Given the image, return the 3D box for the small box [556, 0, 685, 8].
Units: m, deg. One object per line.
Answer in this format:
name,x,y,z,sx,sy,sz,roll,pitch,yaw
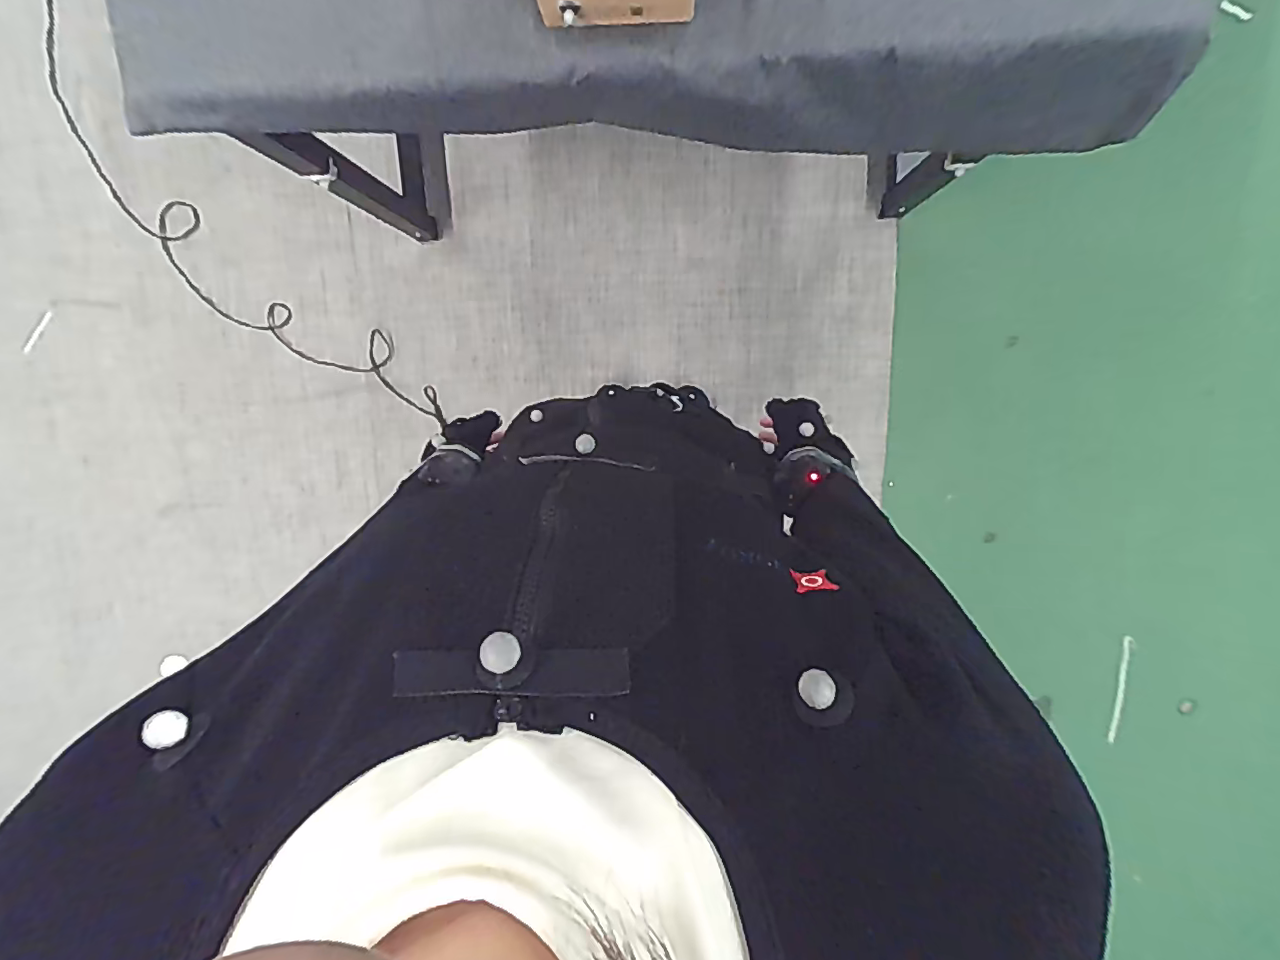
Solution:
small box,-0.029,-0.593,0.512,0.168,0.176,0.179,0,99,2
